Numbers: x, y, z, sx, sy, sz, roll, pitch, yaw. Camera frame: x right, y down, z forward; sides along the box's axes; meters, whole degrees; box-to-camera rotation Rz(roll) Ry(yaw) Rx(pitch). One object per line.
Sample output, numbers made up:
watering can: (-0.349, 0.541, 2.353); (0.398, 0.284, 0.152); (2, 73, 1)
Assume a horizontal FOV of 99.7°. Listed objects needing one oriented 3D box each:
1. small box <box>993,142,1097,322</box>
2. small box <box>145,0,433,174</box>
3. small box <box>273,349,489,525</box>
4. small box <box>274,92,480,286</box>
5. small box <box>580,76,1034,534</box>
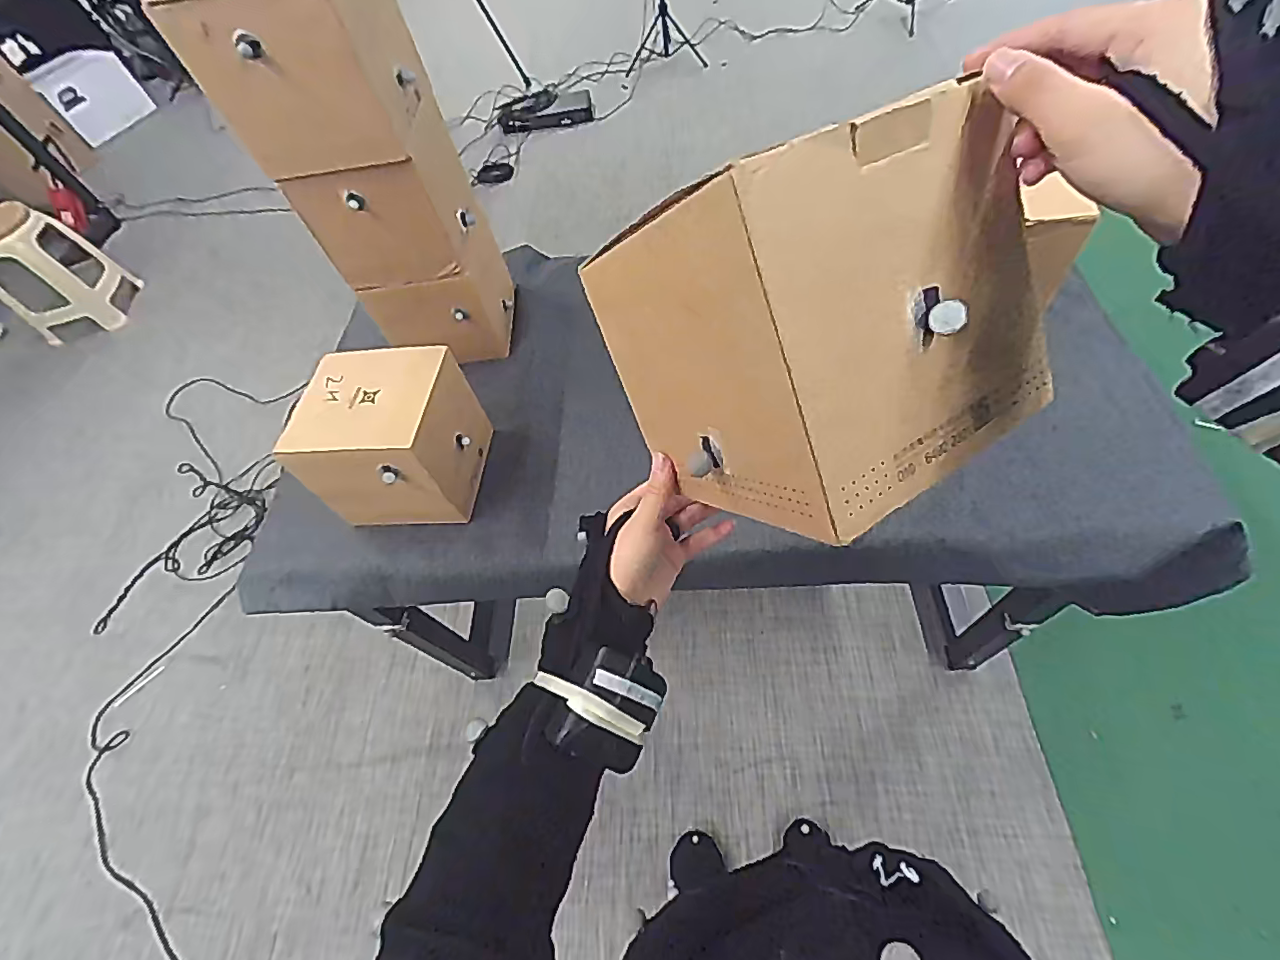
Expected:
small box: (0.479, -0.338, 0.763); (0.168, 0.176, 0.179); (-2, 60, 9)
small box: (-0.359, -0.464, 0.594); (0.179, 0.176, 0.168); (-4, 60, 5)
small box: (-0.319, -0.051, 0.713); (0.179, 0.176, 0.168); (-2, 55, 8)
small box: (-0.340, -0.387, 0.738); (0.179, 0.176, 0.168); (-6, 60, 4)
small box: (0.092, -0.086, 0.320); (0.168, 0.176, 0.179); (-28, 18, -19)
